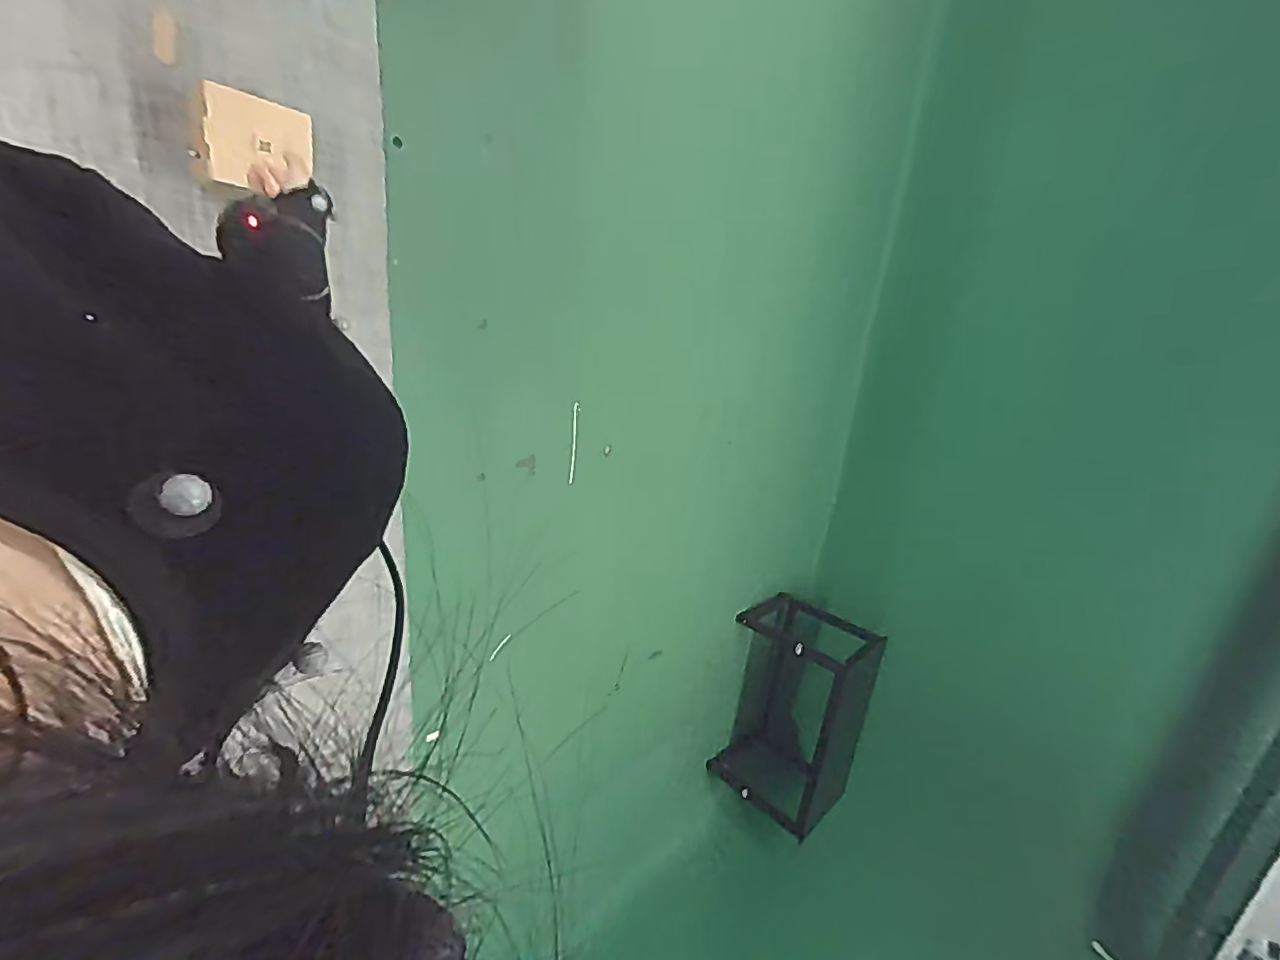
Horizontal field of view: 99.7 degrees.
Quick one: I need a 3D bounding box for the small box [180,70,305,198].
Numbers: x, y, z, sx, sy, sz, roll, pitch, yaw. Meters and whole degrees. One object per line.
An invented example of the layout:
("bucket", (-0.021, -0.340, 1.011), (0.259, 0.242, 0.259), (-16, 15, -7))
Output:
("small box", (-0.798, -0.676, 1.085), (0.179, 0.176, 0.168), (-9, 113, -47))
